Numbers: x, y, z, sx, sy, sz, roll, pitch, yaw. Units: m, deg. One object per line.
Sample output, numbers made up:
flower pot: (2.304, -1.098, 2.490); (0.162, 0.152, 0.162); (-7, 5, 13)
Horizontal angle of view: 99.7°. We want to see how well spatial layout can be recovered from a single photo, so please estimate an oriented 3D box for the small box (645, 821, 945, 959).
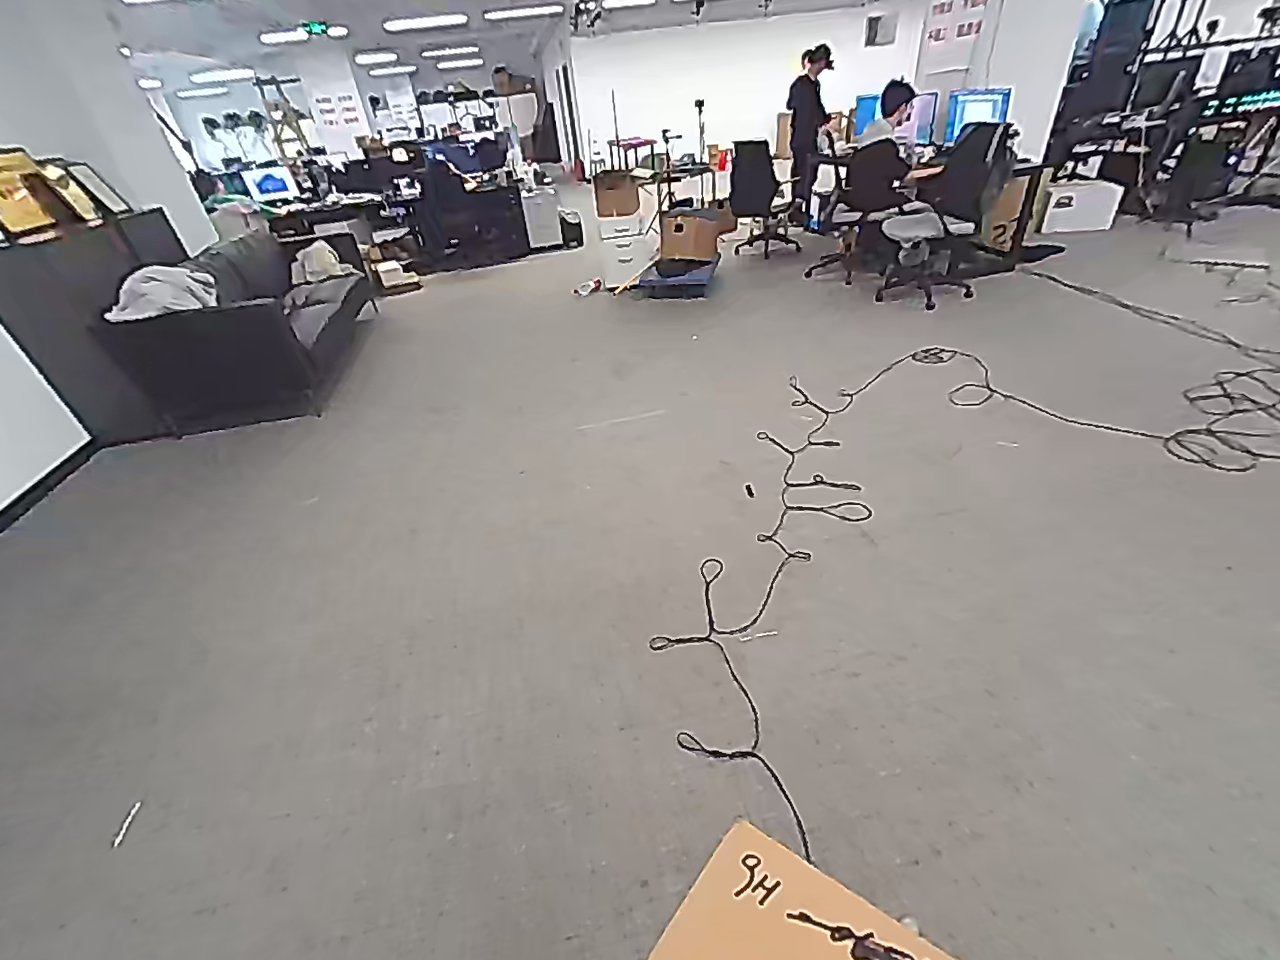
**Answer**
small box: (0.086, 0.344, 0.285); (0.168, 0.176, 0.179); (11, 38, 41)
